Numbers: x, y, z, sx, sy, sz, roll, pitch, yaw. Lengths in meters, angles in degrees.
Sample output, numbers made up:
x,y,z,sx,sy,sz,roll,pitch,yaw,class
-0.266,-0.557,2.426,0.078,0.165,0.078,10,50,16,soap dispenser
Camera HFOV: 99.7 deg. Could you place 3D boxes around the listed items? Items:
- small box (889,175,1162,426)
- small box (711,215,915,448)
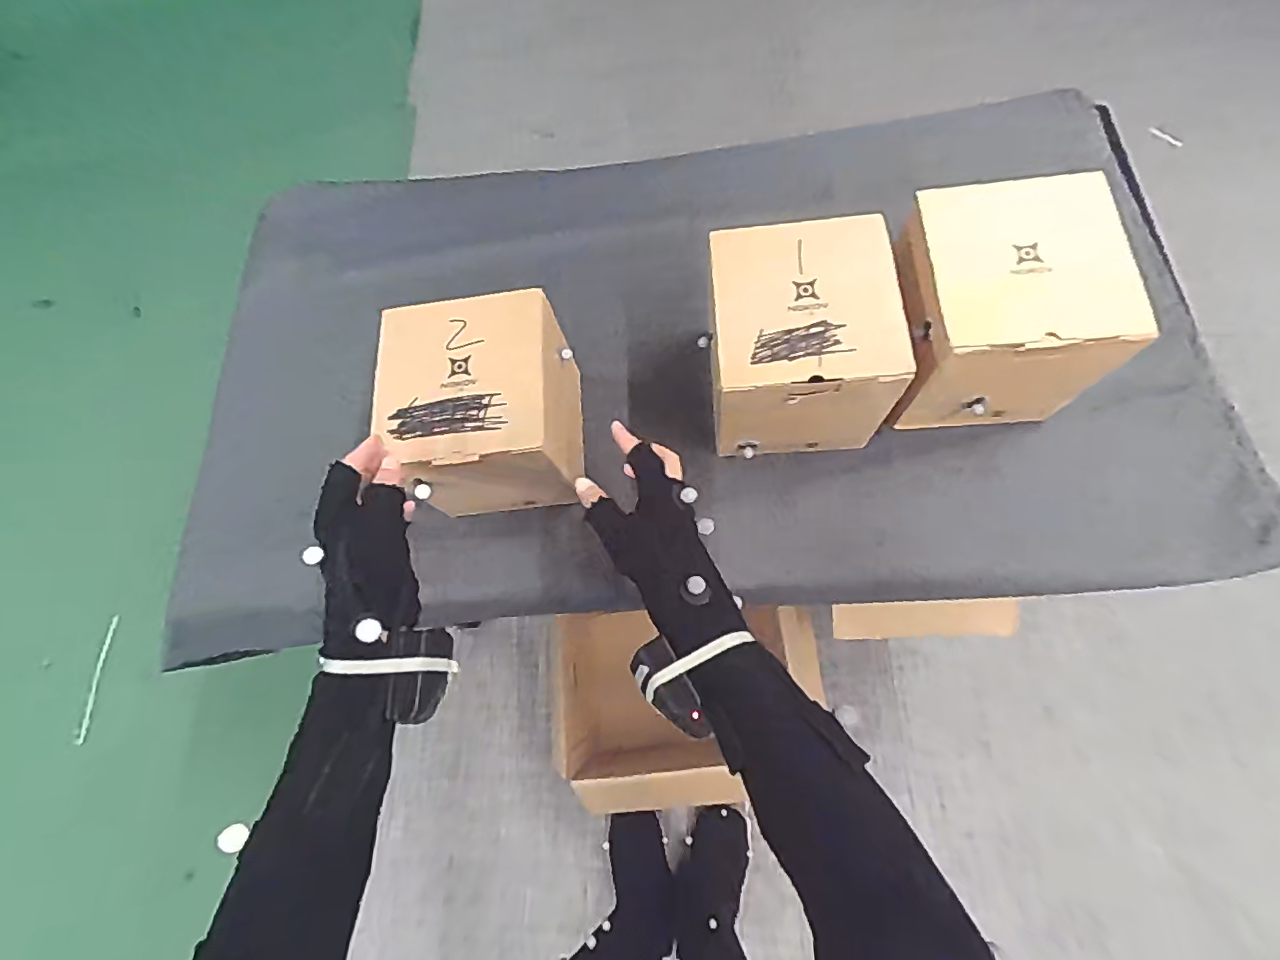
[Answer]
x,y,z,sx,sy,sz,roll,pitch,yaw,class
0.355,-0.170,0.552,0.168,0.176,0.179,-3,72,6,small box
0.162,-0.139,0.565,0.168,0.176,0.179,-3,71,6,small box
